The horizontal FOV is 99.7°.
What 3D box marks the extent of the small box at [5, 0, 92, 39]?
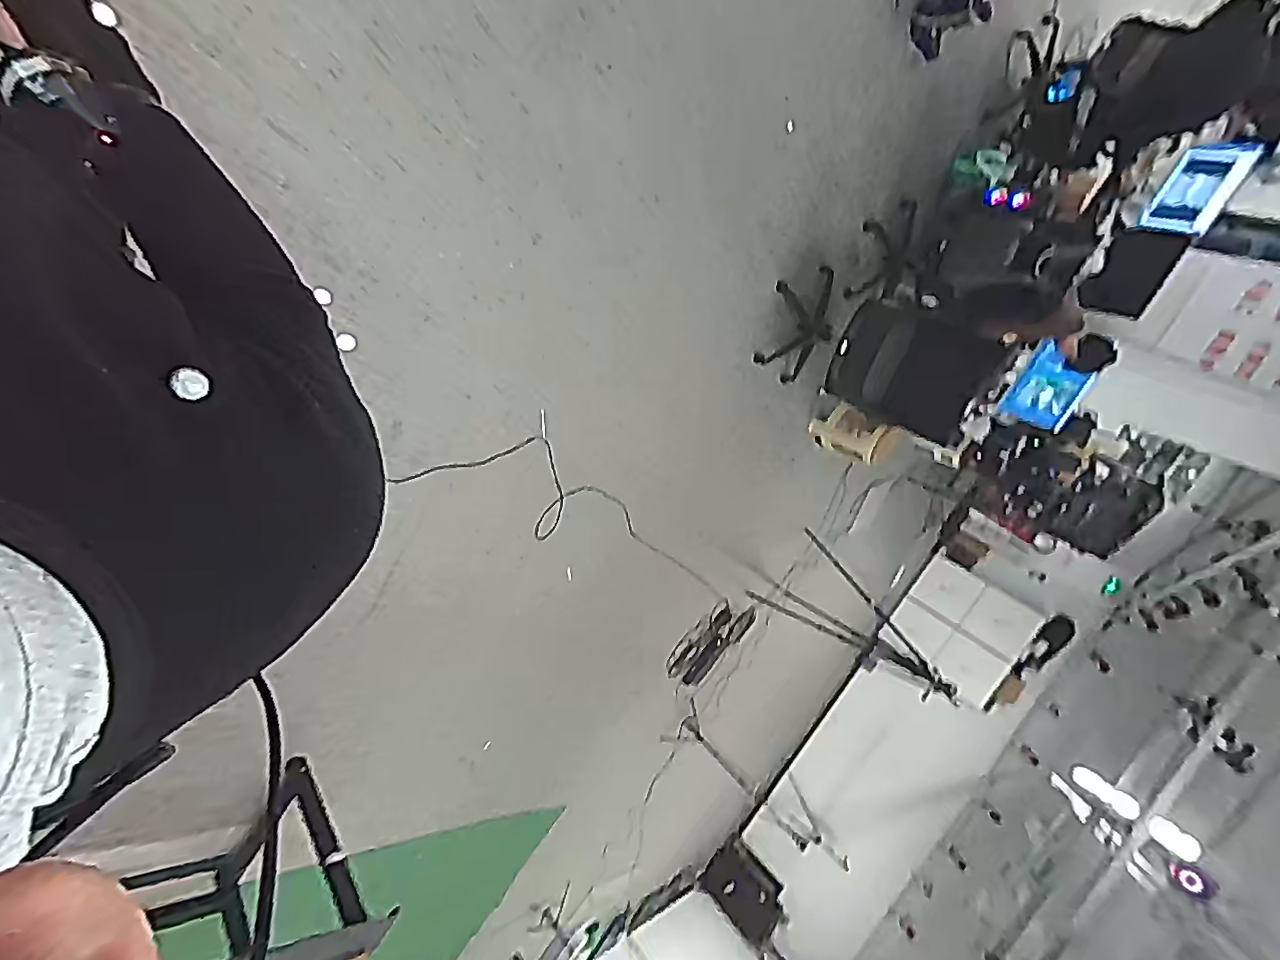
[{"bbox_3d":[-0.824,-0.730,0.712,0.179,0.176,0.168,-56,146,2],"label":"small box"}]
